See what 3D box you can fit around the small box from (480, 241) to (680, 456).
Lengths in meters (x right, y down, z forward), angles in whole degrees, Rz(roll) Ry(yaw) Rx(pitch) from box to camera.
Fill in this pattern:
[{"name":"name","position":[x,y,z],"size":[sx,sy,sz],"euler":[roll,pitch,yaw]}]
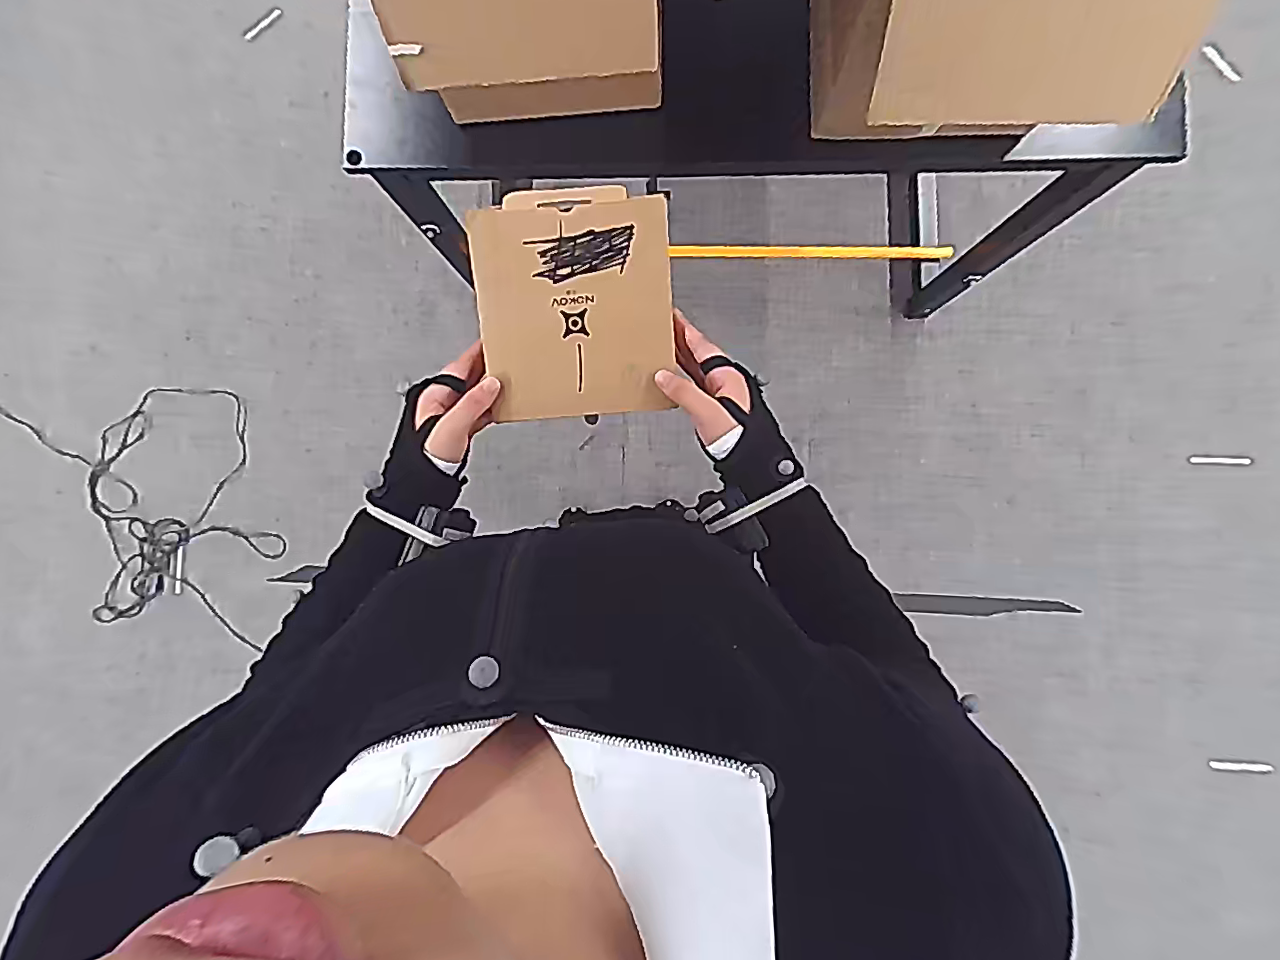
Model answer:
[{"name":"small box","position":[-0.051,-0.126,0.548],"size":[0.168,0.176,0.179],"euler":[-4,102,1]}]
